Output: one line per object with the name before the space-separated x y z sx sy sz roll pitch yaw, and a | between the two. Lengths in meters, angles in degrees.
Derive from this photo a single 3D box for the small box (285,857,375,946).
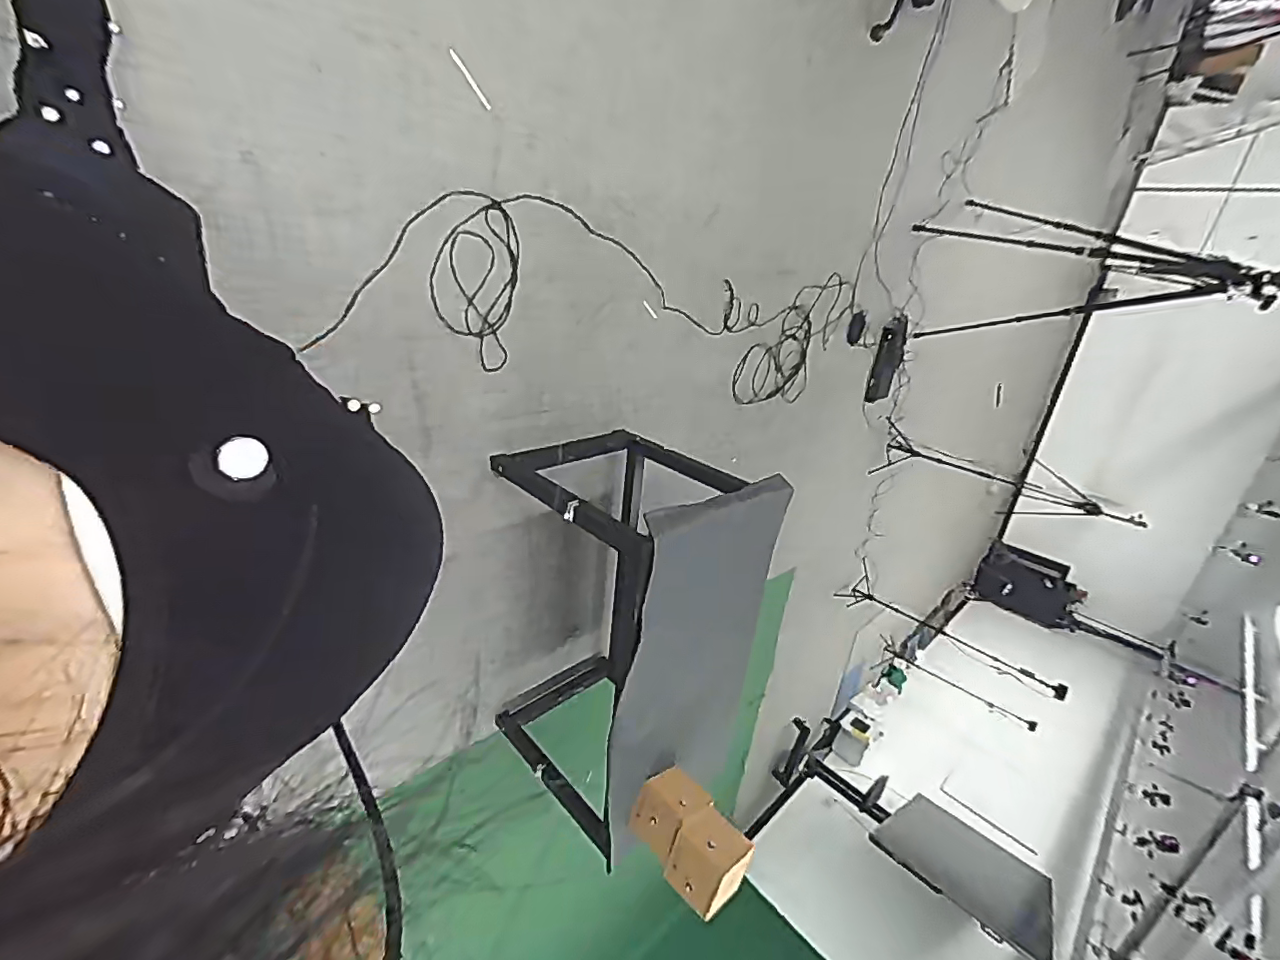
small box | -1.036 1.394 1.800 0.168 0.176 0.179 -54 139 -12

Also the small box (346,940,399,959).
small box | -0.807 1.520 1.600 0.168 0.176 0.179 -40 134 -26

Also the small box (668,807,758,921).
small box | 0.209 1.111 1.581 0.179 0.176 0.168 2 109 -50

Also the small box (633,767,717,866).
small box | 0.105 1.037 1.684 0.179 0.176 0.168 10 102 -51
